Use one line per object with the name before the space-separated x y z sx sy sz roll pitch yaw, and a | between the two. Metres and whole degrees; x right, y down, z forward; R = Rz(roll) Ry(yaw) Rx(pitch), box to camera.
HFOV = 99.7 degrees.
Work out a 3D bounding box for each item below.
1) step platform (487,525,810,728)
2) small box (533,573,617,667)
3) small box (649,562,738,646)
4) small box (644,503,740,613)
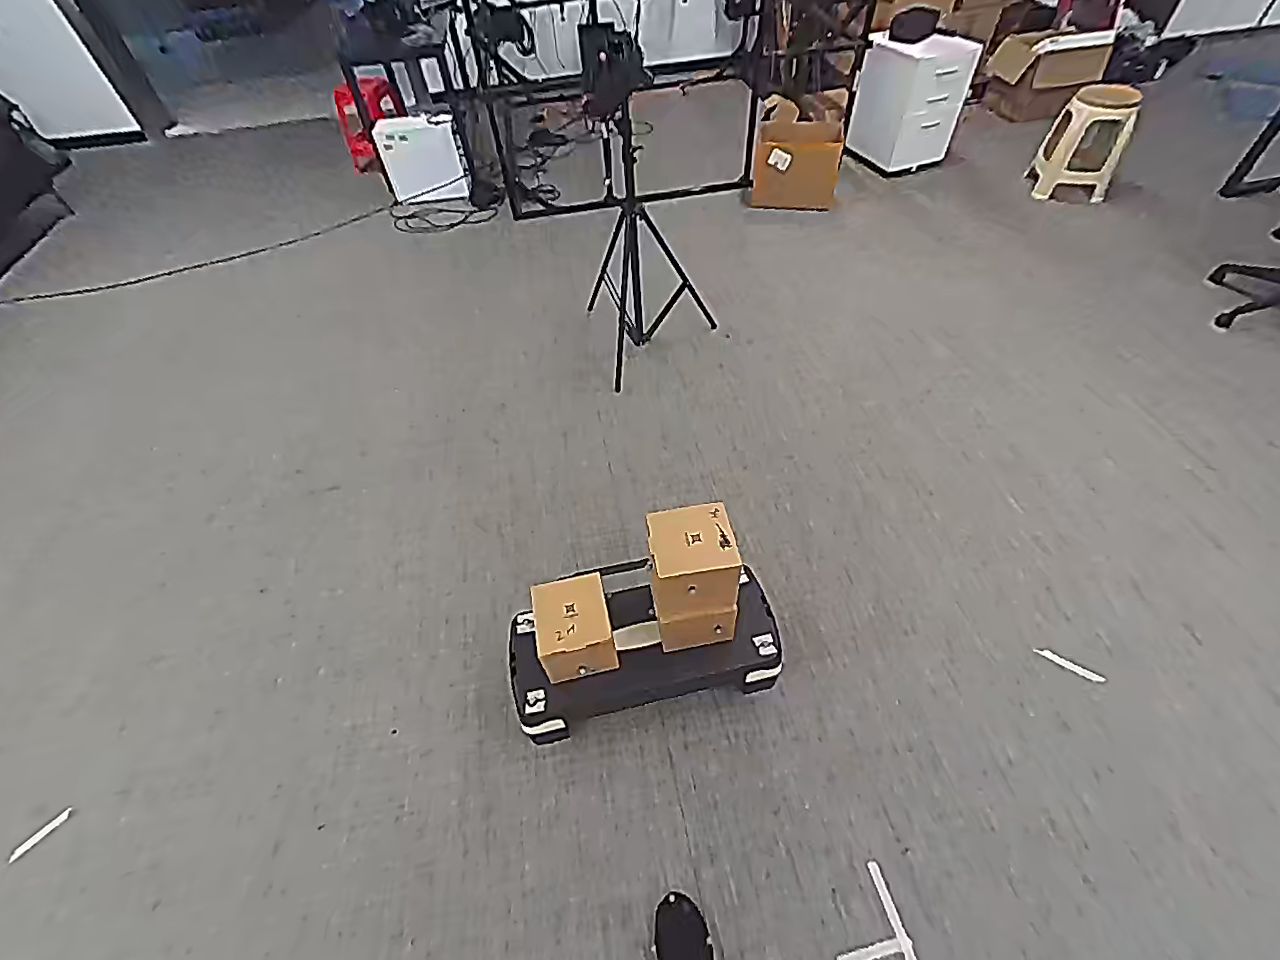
step platform | 0.017 0.330 1.230 0.684 0.204 0.286 -12 50 -6
small box | -0.151 0.349 1.272 0.168 0.176 0.179 -12 51 -5
small box | 0.123 0.292 1.301 0.179 0.176 0.168 -10 51 -3
small box | 0.112 0.175 1.186 0.179 0.176 0.168 -9 50 -2
